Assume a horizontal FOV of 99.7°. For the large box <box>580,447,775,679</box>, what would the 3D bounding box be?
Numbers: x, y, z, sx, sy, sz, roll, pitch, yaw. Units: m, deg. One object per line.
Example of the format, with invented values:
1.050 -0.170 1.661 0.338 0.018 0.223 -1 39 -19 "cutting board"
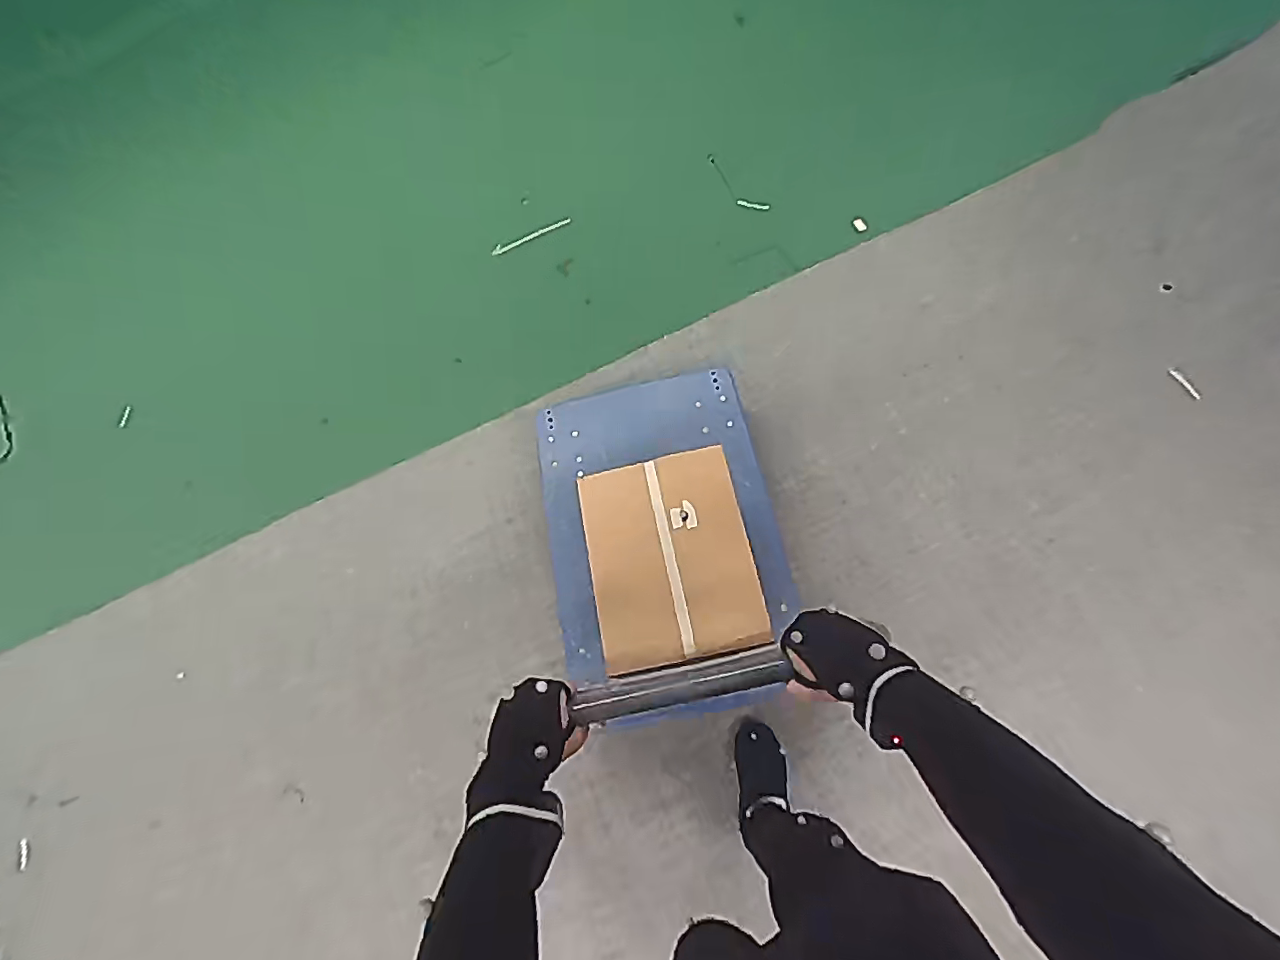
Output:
0.081 0.197 1.195 0.320 0.320 0.408 -13 67 2 "large box"
